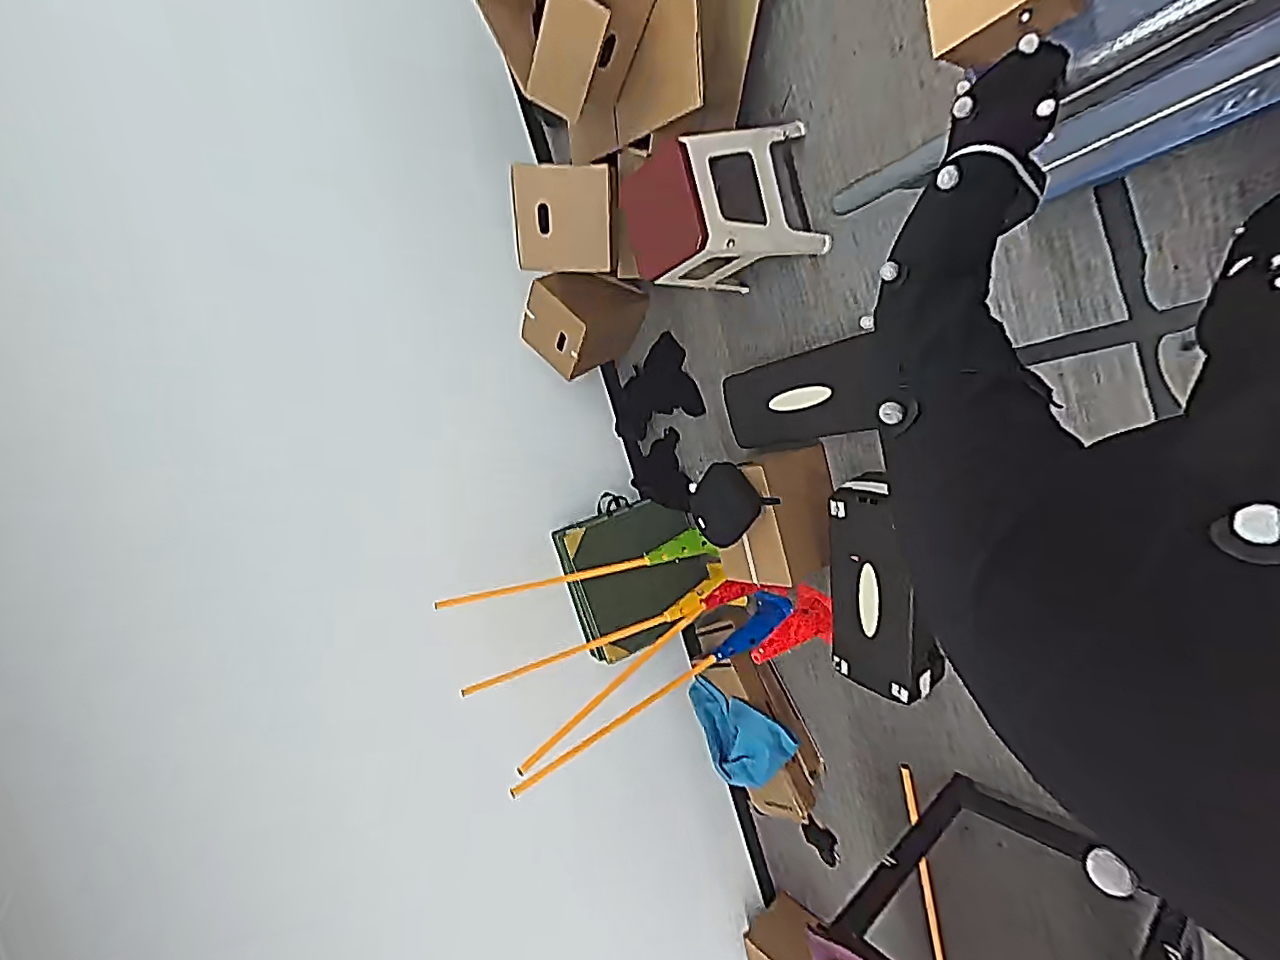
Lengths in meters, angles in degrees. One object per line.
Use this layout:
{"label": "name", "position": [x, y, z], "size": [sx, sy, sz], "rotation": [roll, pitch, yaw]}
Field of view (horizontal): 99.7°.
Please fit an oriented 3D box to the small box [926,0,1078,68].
{"label": "small box", "position": [0.626, -0.863, 0.942], "size": [0.179, 0.176, 0.168], "rotation": [-3, 103, 54]}
